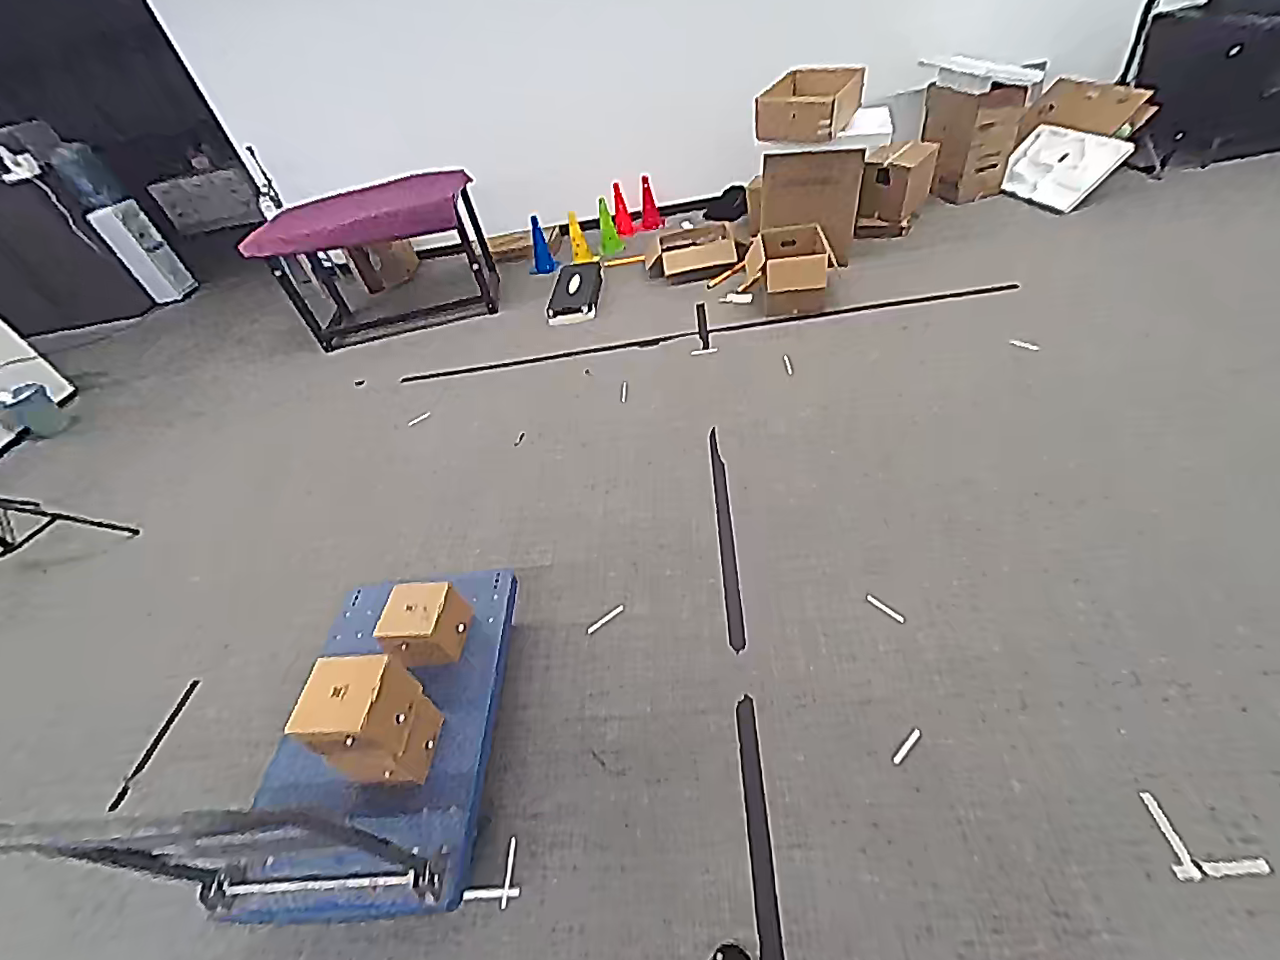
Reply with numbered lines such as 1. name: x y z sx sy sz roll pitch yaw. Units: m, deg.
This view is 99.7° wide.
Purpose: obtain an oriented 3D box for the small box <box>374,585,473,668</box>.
1. small box: -0.604 0.417 1.529 0.179 0.176 0.168 -5 44 9

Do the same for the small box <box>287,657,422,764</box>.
1. small box: -0.618 0.513 1.195 0.179 0.176 0.168 -6 43 7
